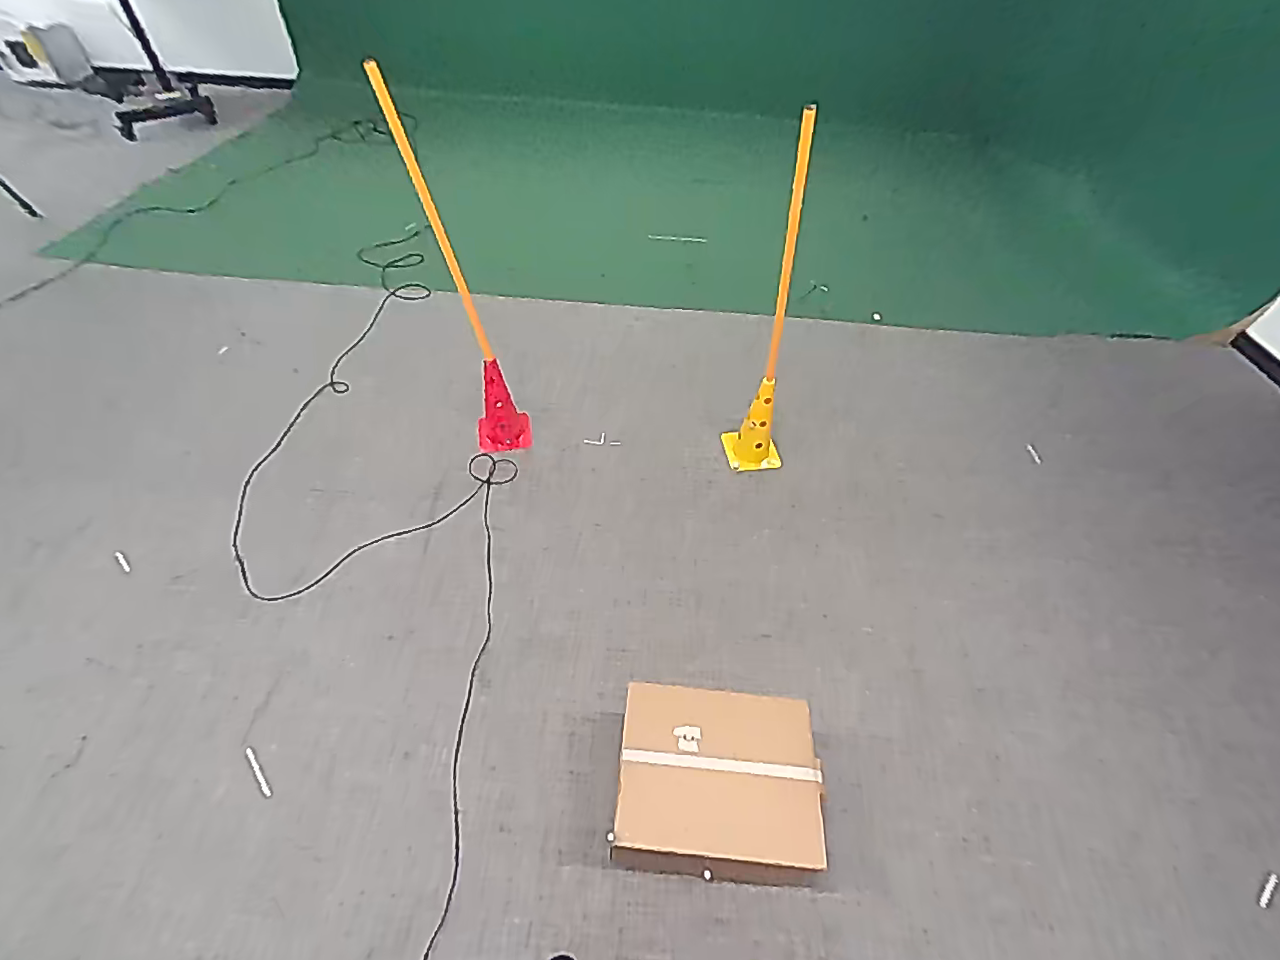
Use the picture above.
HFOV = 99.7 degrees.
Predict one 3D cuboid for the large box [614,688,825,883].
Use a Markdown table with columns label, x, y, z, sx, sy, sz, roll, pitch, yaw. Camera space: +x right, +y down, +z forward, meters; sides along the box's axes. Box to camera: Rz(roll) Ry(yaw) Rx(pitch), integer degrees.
| label | x | y | z | sx | sy | sz | roll | pitch | yaw |
| --- | --- | --- | --- | --- | --- | --- | --- | --- | --- |
| large box | 0.159 | 0.694 | 1.220 | 0.408 | 0.320 | 0.320 | 5 | 48 | 2 |
